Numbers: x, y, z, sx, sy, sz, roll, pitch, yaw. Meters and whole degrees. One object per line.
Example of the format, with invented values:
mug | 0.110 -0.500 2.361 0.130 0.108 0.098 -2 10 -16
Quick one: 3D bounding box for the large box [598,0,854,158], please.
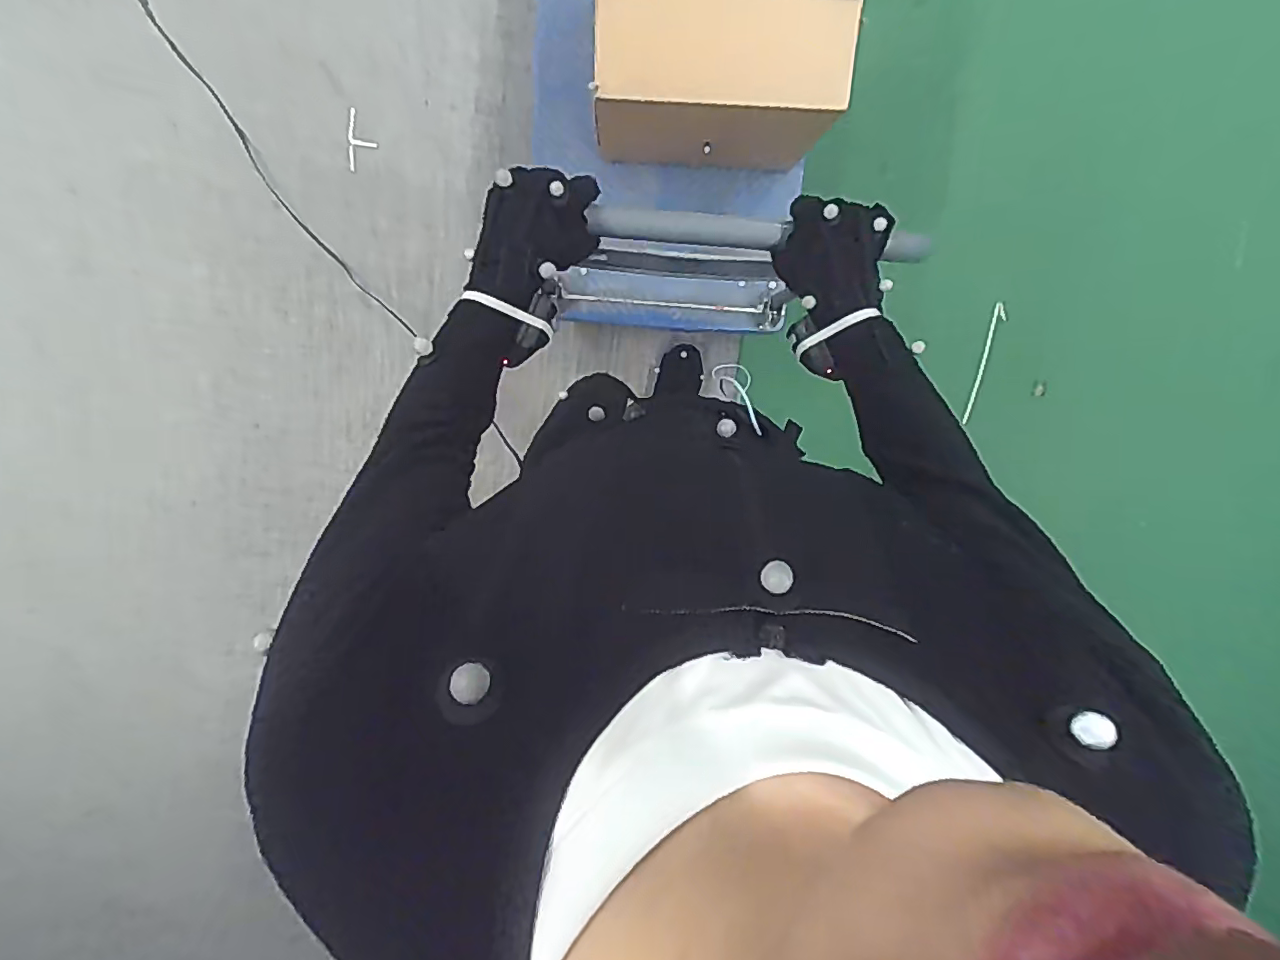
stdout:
large box | 0.135 -0.795 0.971 0.408 0.320 0.320 1 104 -1
